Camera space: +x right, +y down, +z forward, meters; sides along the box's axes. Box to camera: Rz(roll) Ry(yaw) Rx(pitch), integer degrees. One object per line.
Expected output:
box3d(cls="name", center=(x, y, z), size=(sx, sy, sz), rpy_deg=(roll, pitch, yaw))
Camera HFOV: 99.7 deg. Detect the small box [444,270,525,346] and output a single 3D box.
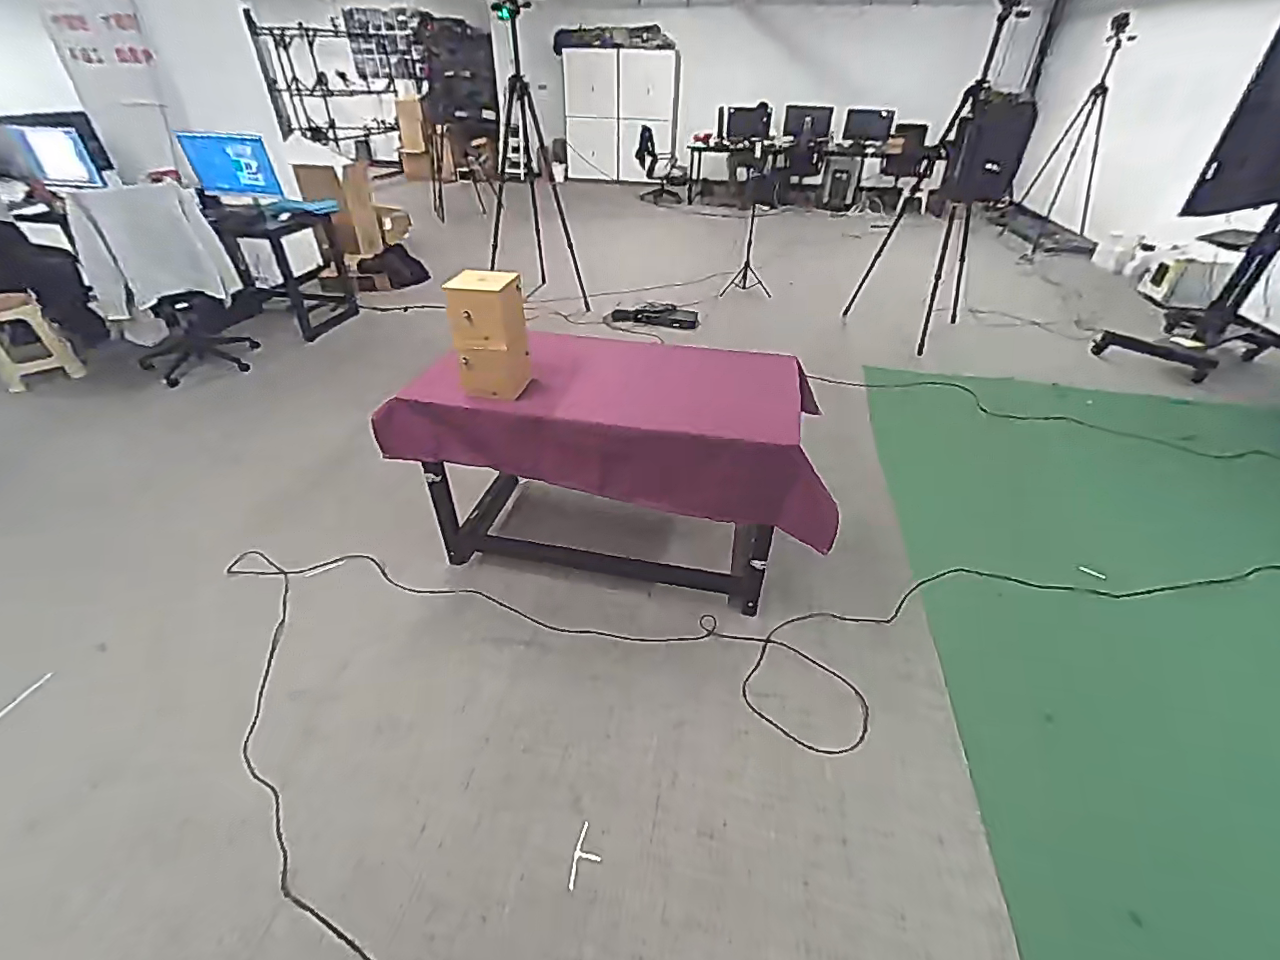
box3d(cls="small box", center=(-0.442, -0.500, 1.571), size=(0.168, 0.176, 0.179), rpy_deg=(5, 36, 6))
